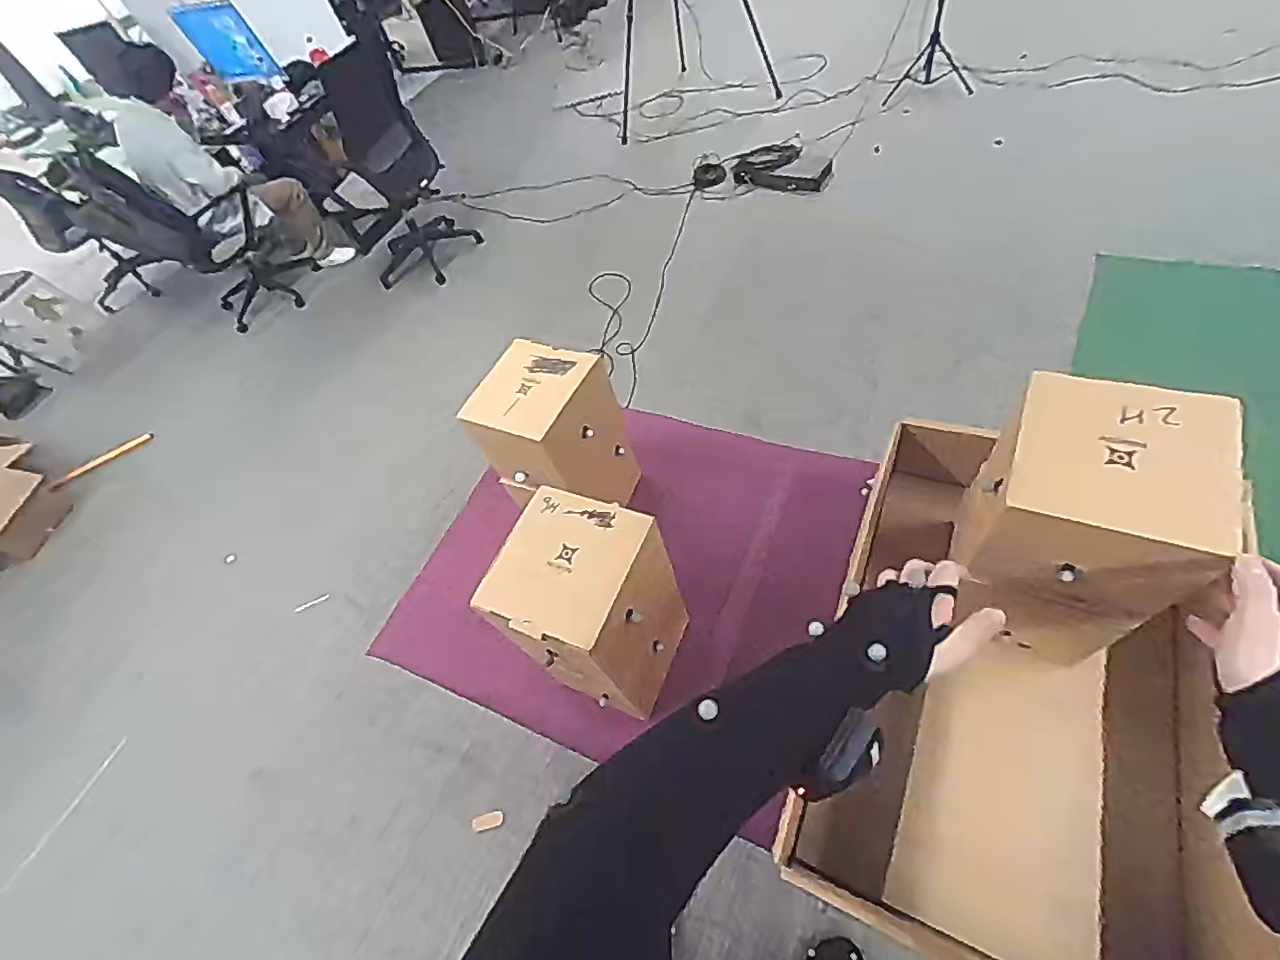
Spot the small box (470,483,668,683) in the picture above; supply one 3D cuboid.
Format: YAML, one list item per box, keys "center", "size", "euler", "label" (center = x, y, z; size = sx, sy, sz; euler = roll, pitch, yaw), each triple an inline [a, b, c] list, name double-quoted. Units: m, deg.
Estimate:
- center: [-0.075, 0.136, 0.695]
  size: [0.168, 0.176, 0.179]
  euler: [16, 61, 23]
  label: "small box"

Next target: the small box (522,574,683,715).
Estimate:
- center: [-0.043, 0.231, 0.825]
  size: [0.168, 0.176, 0.179]
  euler: [16, 59, 23]
  label: "small box"

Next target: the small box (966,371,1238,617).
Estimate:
- center: [0.461, 0.018, 0.564]
  size: [0.168, 0.176, 0.179]
  euler: [17, 63, 25]
  label: "small box"

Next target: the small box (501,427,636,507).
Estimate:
- center: [-0.121, -0.005, 1.011]
  size: [0.168, 0.176, 0.179]
  euler: [13, 60, 23]
  label: "small box"

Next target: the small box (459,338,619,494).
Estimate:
- center: [-0.149, -0.098, 0.878]
  size: [0.168, 0.176, 0.179]
  euler: [17, 62, 25]
  label: "small box"
